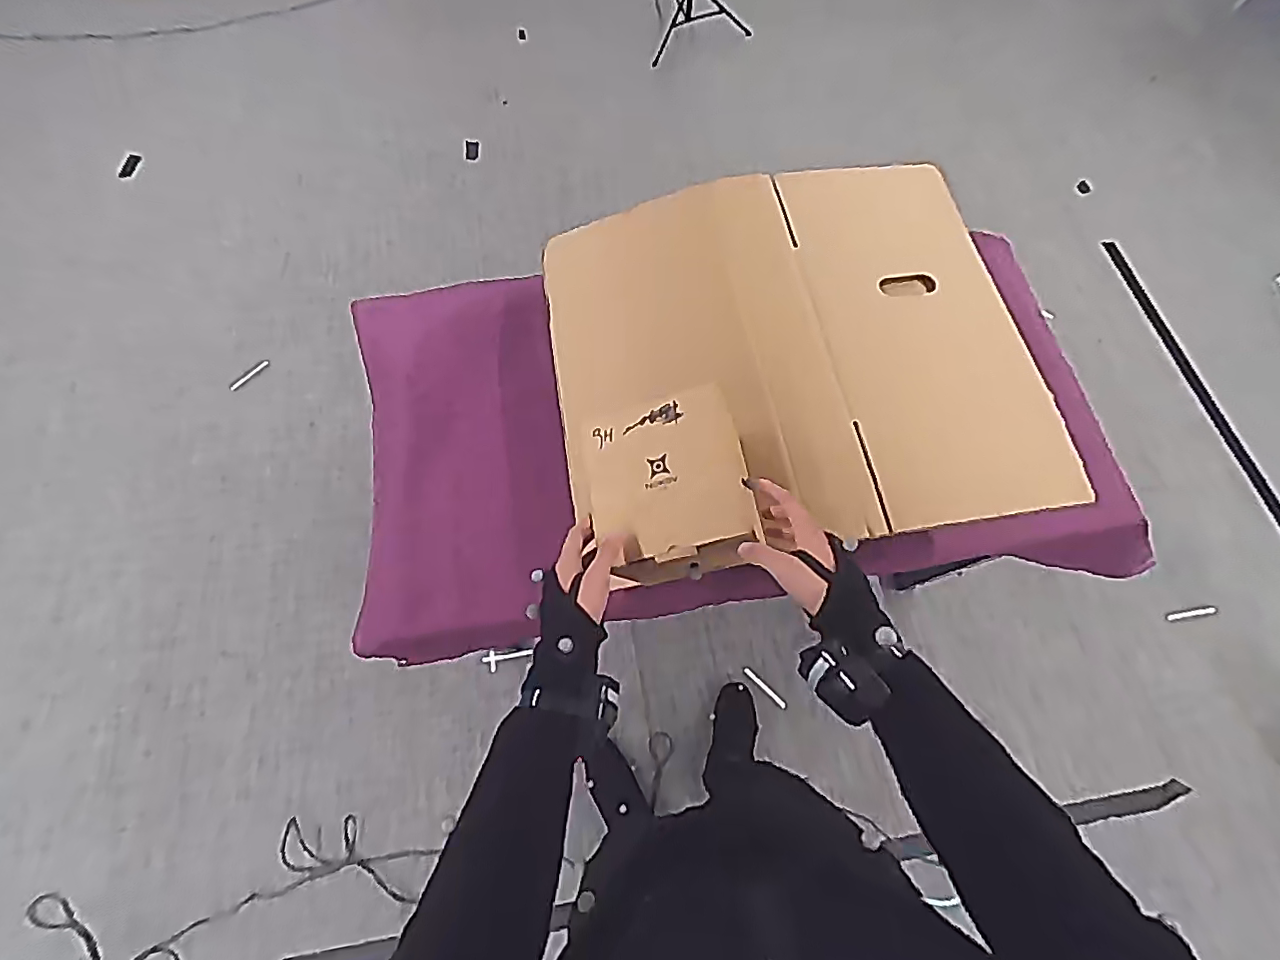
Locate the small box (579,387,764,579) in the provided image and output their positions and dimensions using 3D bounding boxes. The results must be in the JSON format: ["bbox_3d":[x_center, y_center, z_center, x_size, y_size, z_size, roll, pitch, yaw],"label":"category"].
[{"bbox_3d":[0.045,0.019,0.651,0.168,0.176,0.179,-15,71,13],"label":"small box"}]
